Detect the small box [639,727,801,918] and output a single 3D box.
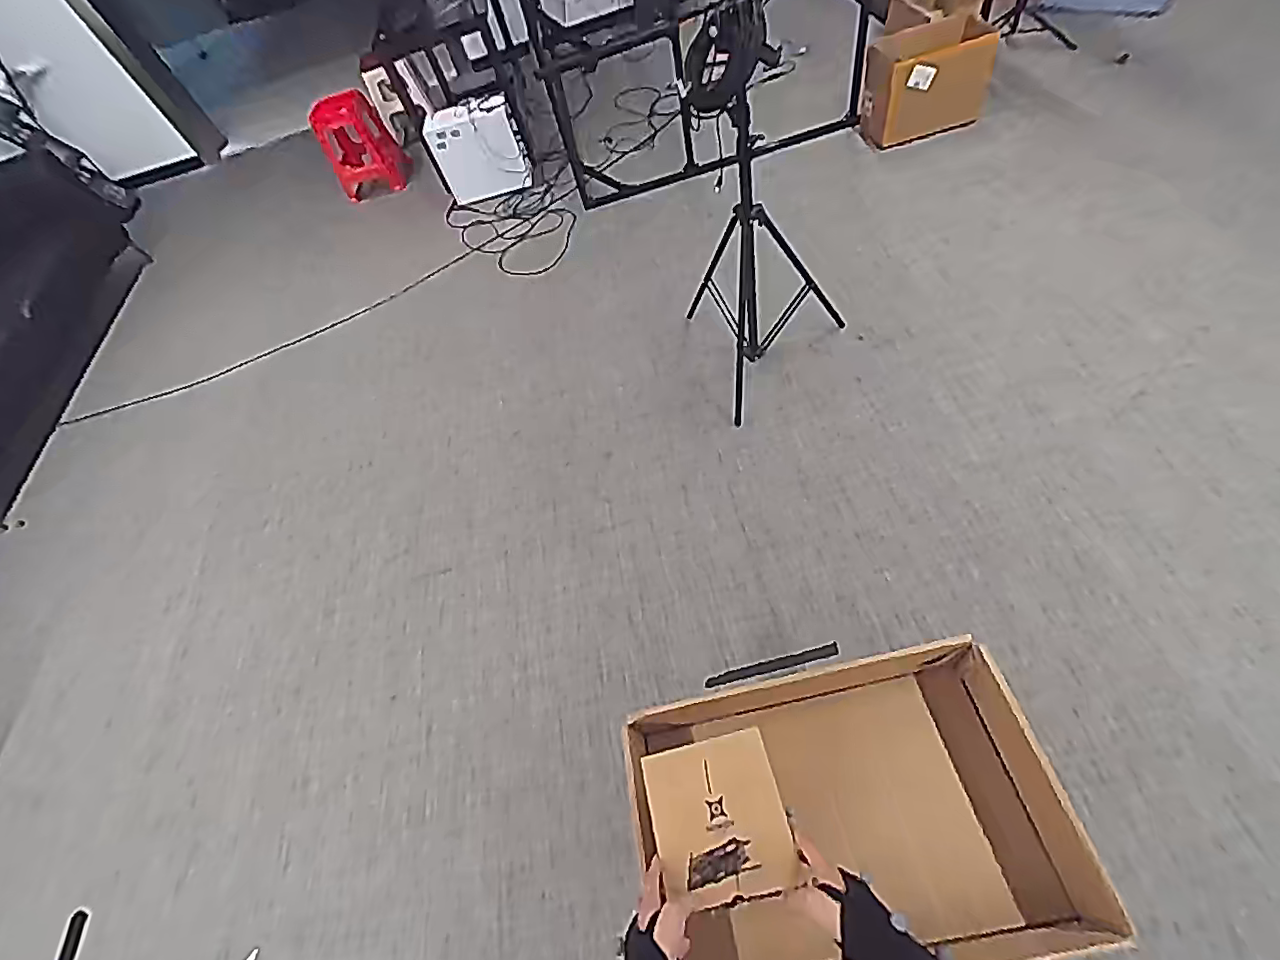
[{"bbox_3d":[0.110,0.456,0.732,0.168,0.176,0.179,-17,55,4],"label":"small box"}]
